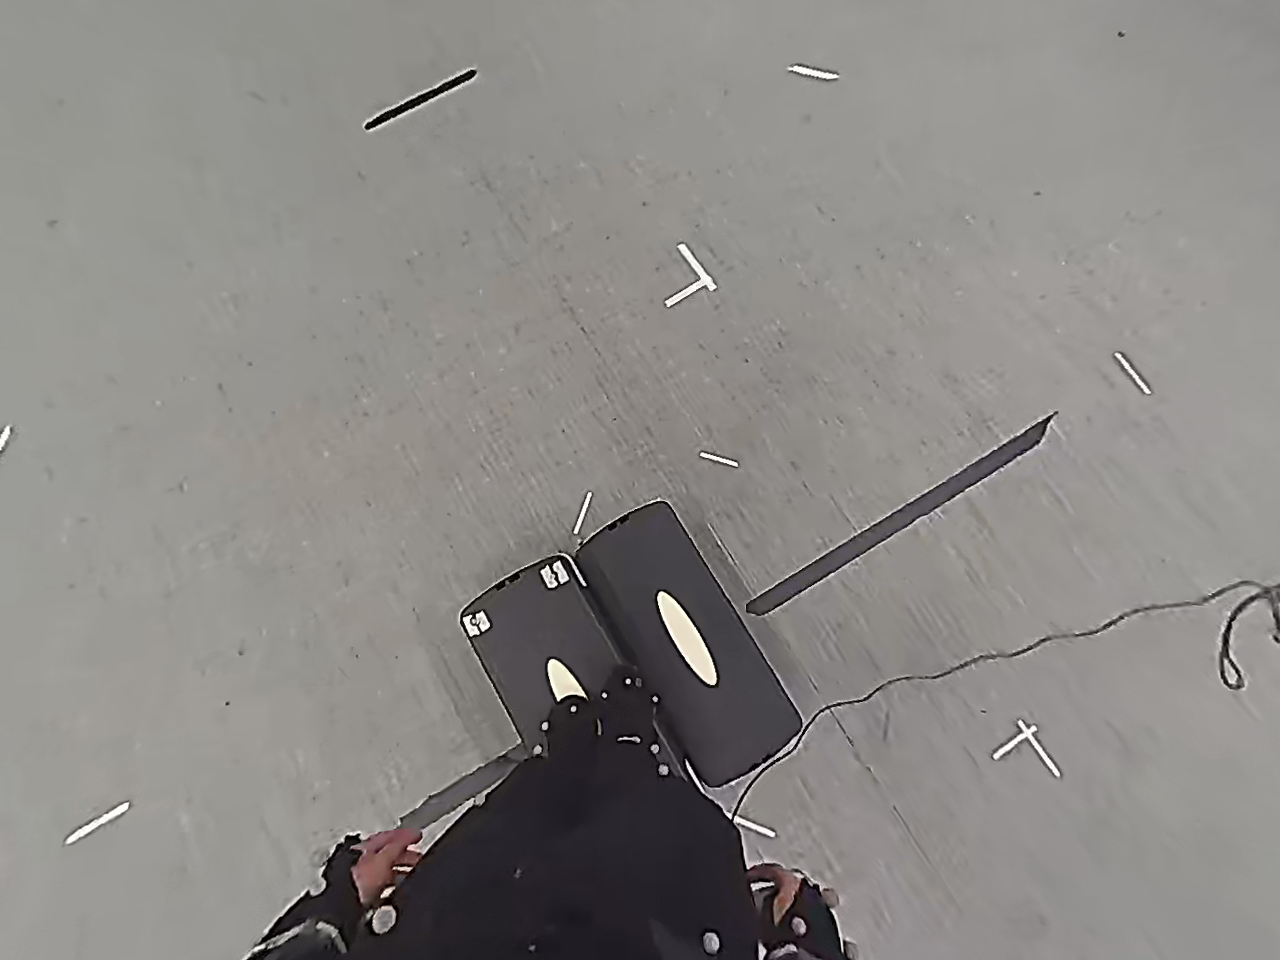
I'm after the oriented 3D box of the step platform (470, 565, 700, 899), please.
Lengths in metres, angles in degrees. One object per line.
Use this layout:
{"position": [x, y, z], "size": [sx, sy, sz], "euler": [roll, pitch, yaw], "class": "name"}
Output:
{"position": [-0.132, 0.546, 1.252], "size": [0.286, 0.204, 0.684], "euler": [-26, 78, -7], "class": "step platform"}
